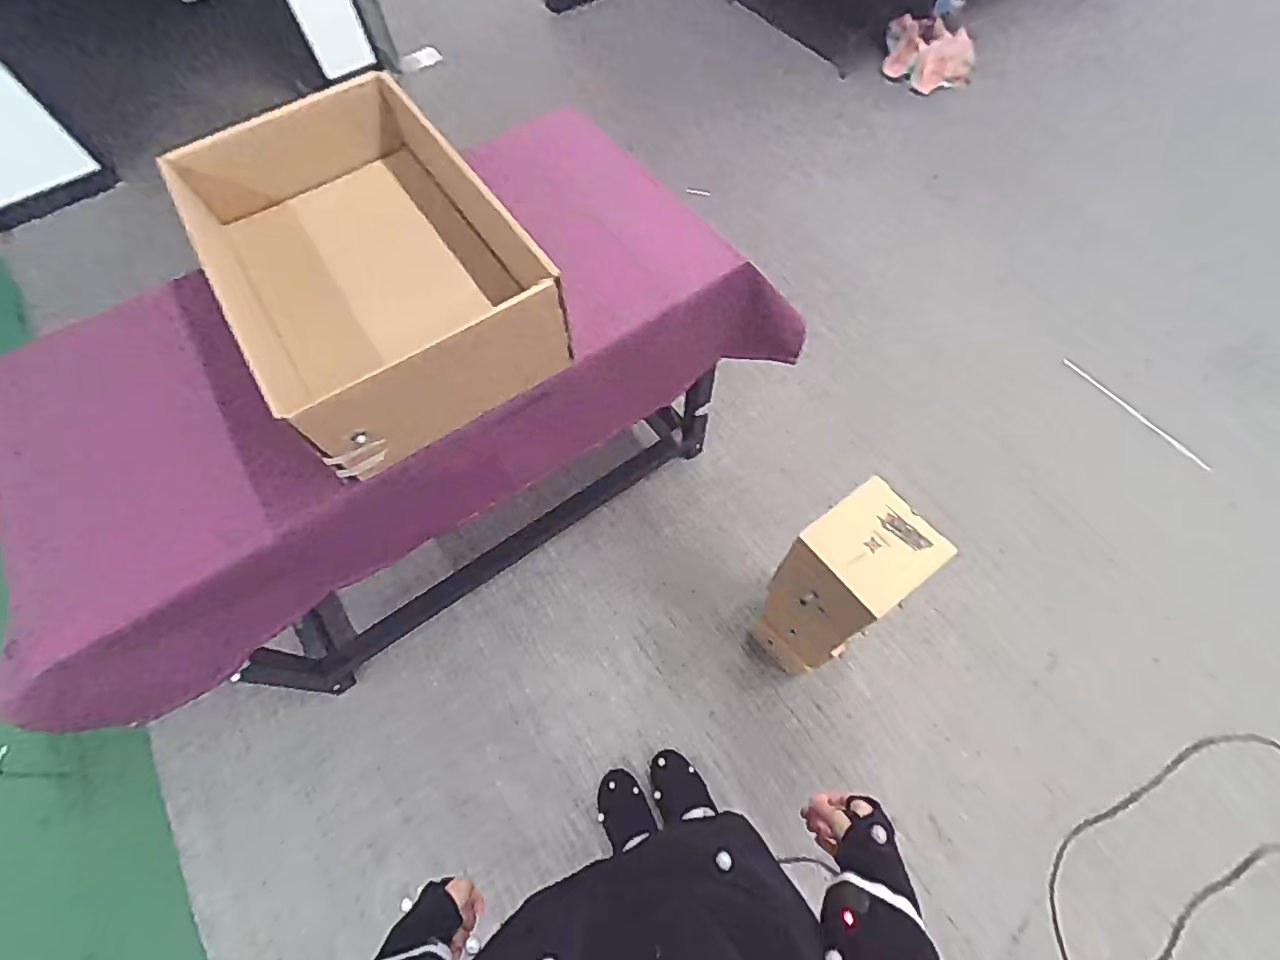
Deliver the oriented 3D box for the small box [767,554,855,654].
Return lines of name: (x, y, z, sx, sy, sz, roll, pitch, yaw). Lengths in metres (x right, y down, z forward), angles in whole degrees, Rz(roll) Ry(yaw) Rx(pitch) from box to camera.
small box: (0.368, 0.210, 1.043, 0.168, 0.176, 0.179, -32, 66, -13)

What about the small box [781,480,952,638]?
small box: (0.360, 0.136, 0.897, 0.179, 0.176, 0.168, -34, 67, -13)
